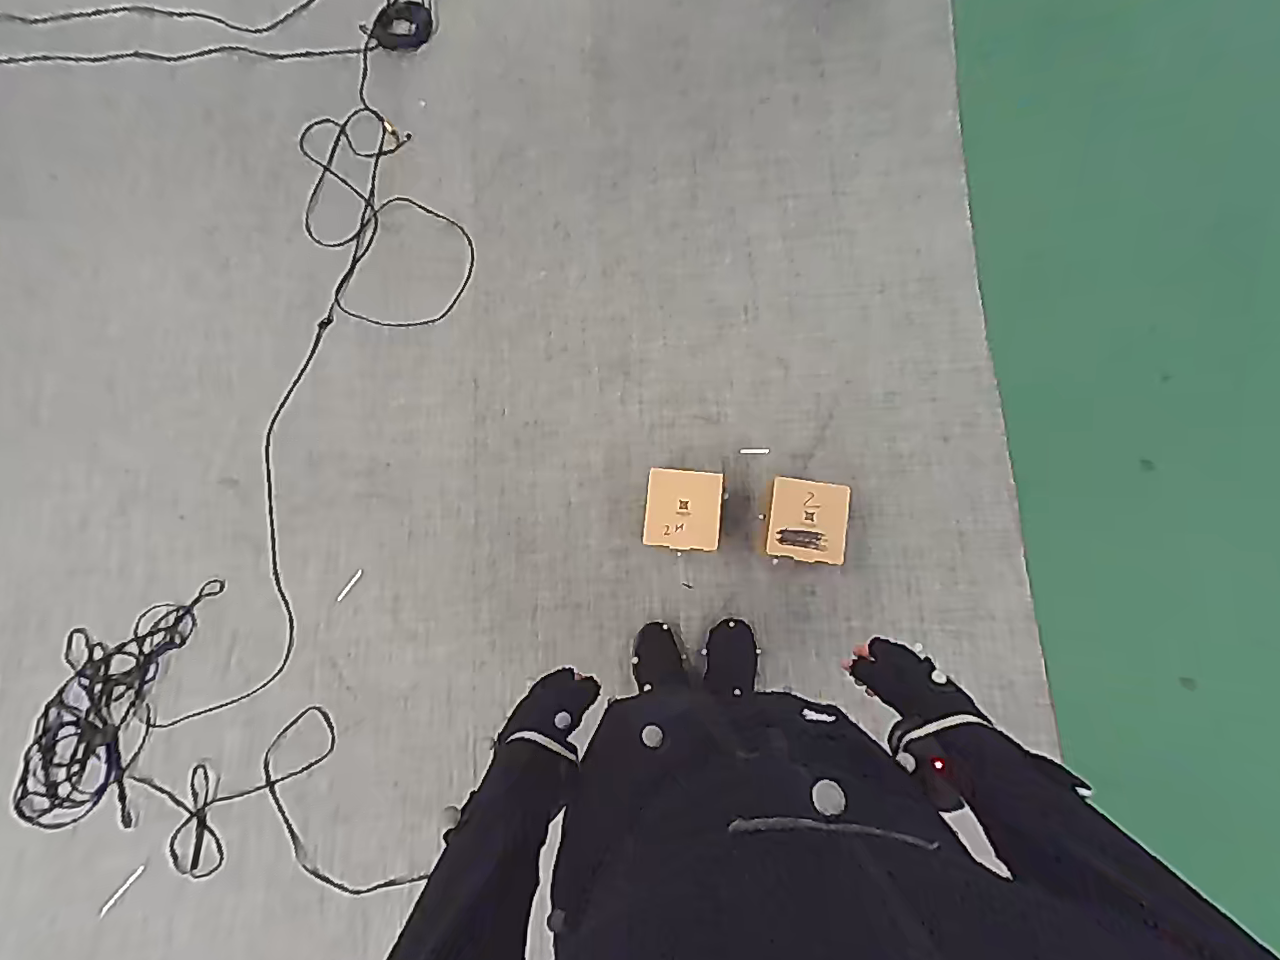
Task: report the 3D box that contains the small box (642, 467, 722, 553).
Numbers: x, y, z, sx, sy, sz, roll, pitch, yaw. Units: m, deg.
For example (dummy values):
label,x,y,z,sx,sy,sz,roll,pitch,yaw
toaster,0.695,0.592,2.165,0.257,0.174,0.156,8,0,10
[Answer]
label,x,y,z,sx,sy,sz,roll,pitch,yaw
small box,0.100,0.076,1.275,0.168,0.176,0.179,5,82,6
